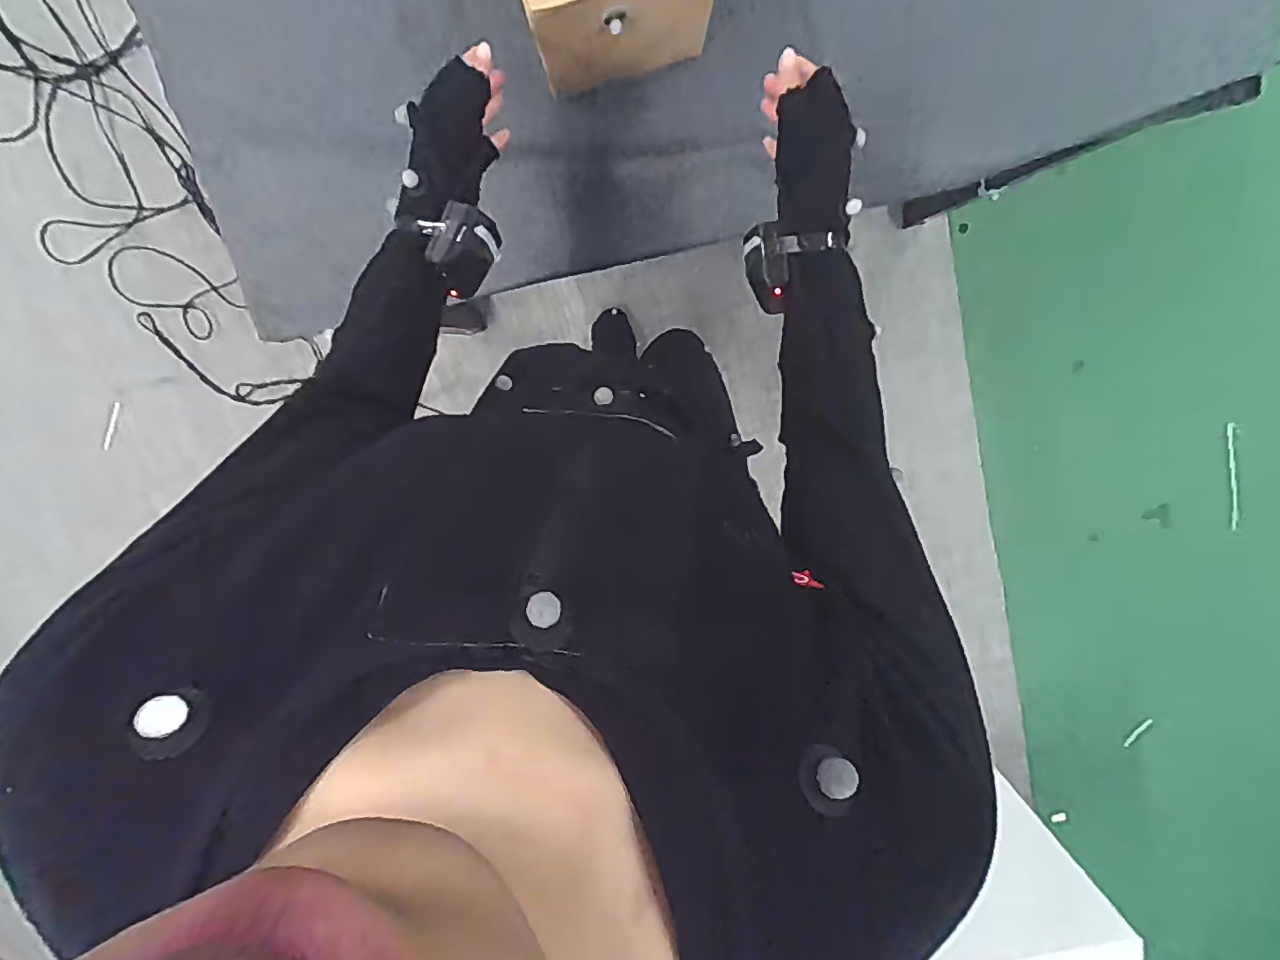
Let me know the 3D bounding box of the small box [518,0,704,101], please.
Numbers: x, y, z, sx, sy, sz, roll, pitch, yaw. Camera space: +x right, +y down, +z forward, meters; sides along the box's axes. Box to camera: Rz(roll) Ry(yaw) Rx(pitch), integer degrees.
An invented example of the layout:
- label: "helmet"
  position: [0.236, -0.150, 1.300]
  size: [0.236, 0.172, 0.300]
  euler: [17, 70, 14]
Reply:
- label: "small box"
  position: [-0.037, -0.508, 0.522]
  size: [0.179, 0.176, 0.168]
  euler: [-16, 103, 3]
